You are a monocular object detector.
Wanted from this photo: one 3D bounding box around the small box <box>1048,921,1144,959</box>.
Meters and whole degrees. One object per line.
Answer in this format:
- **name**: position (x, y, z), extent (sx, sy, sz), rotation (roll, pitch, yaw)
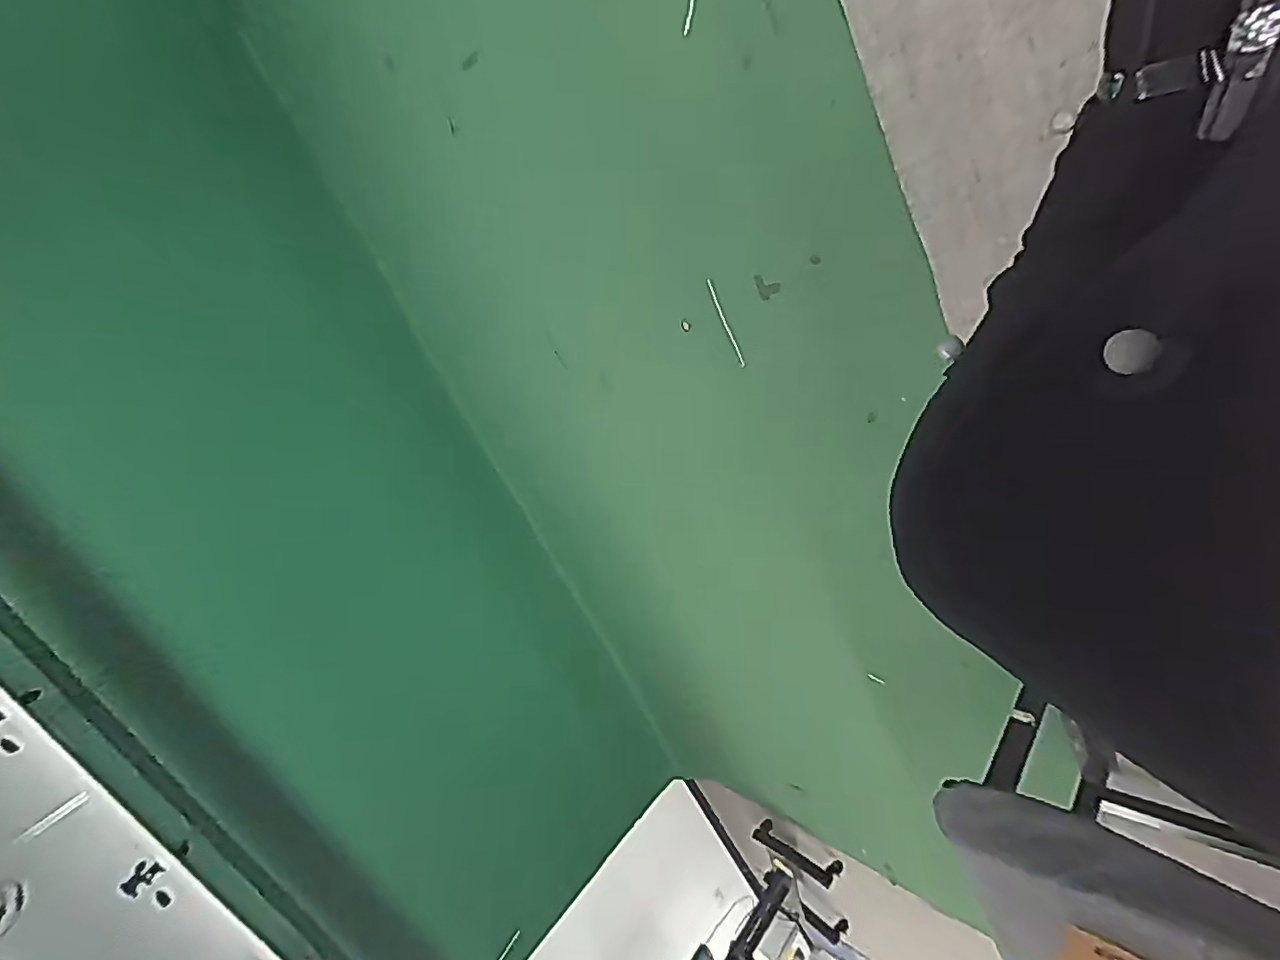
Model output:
- **small box**: position (0.907, 1.024, 1.043), extent (0.168, 0.176, 0.179), rotation (-8, 115, 52)
